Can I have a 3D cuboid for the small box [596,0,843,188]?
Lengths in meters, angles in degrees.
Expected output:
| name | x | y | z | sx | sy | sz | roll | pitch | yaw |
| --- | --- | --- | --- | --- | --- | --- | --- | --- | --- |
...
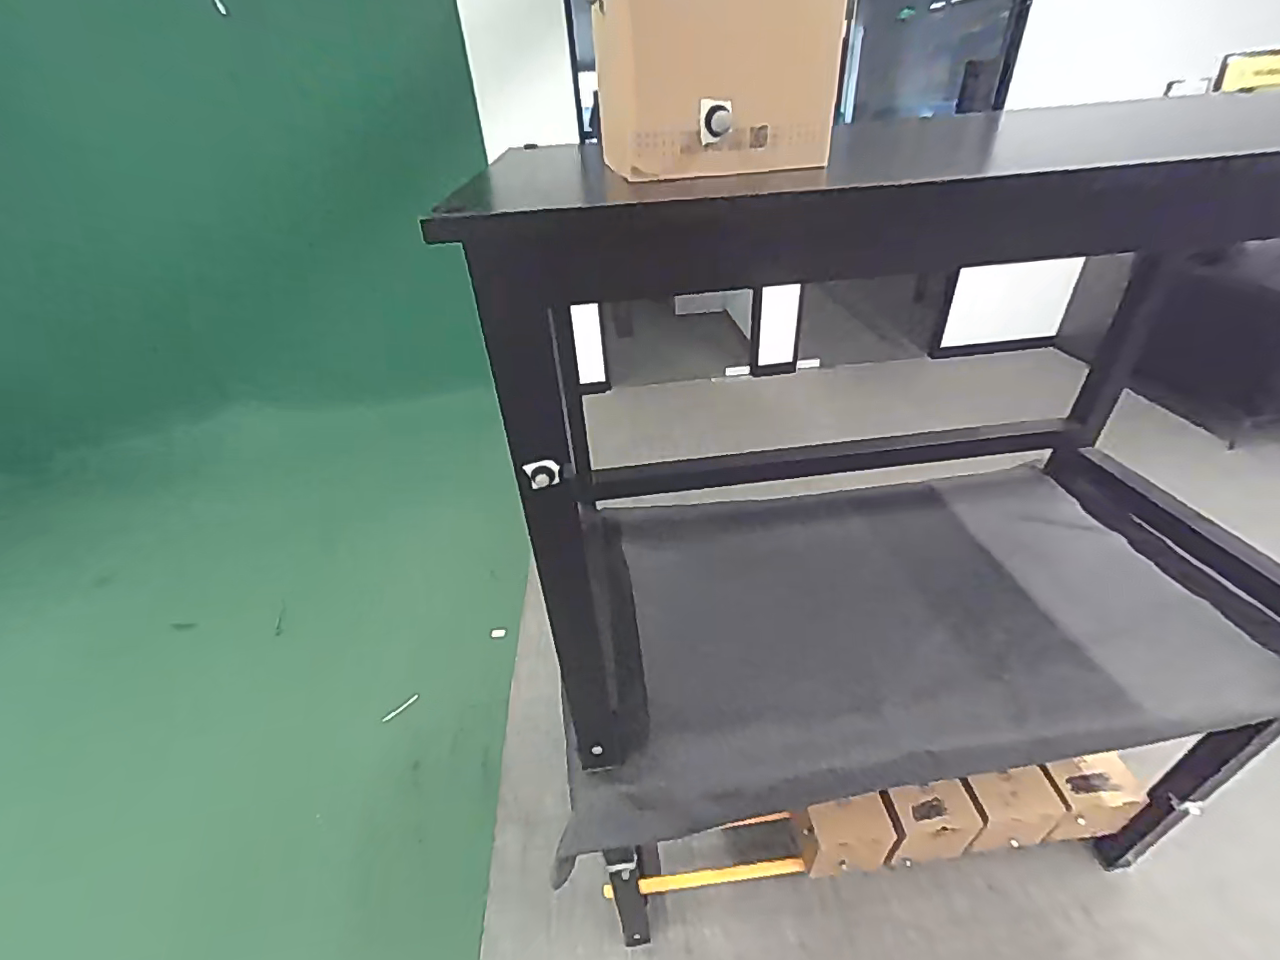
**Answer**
| name | x | y | z | sx | sy | sz | roll | pitch | yaw |
| --- | --- | --- | --- | --- | --- | --- | --- | --- | --- |
| small box | 0.054 | -0.356 | 0.465 | 0.168 | 0.176 | 0.179 | -9 | 35 | -6 |
